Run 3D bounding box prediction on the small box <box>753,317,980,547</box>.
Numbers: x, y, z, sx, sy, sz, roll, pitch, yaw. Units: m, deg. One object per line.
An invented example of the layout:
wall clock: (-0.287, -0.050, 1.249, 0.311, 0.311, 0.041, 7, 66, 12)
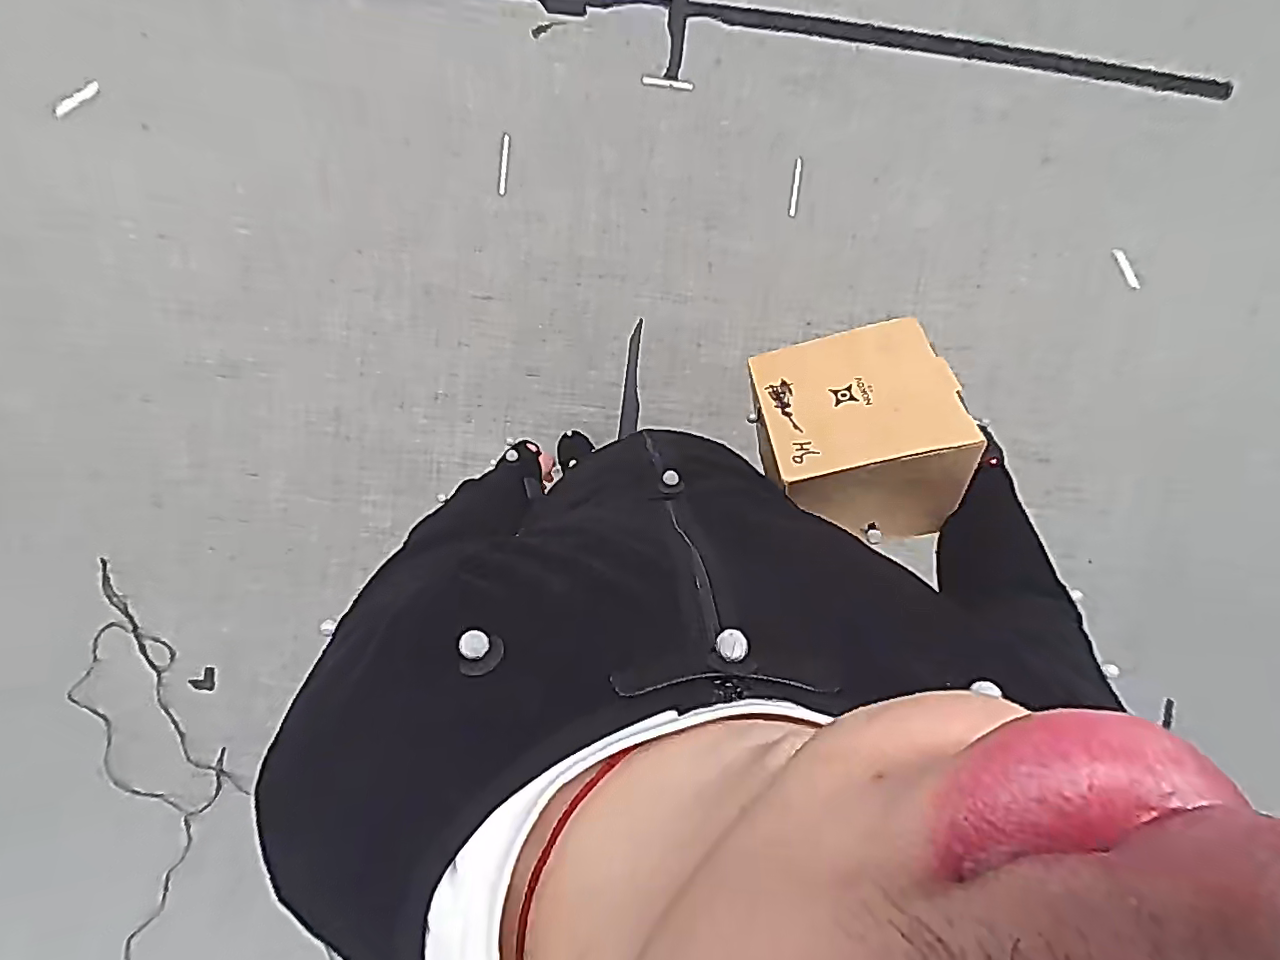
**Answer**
small box: (0.232, -0.044, 0.599, 0.179, 0.176, 0.168, -13, 54, 10)
